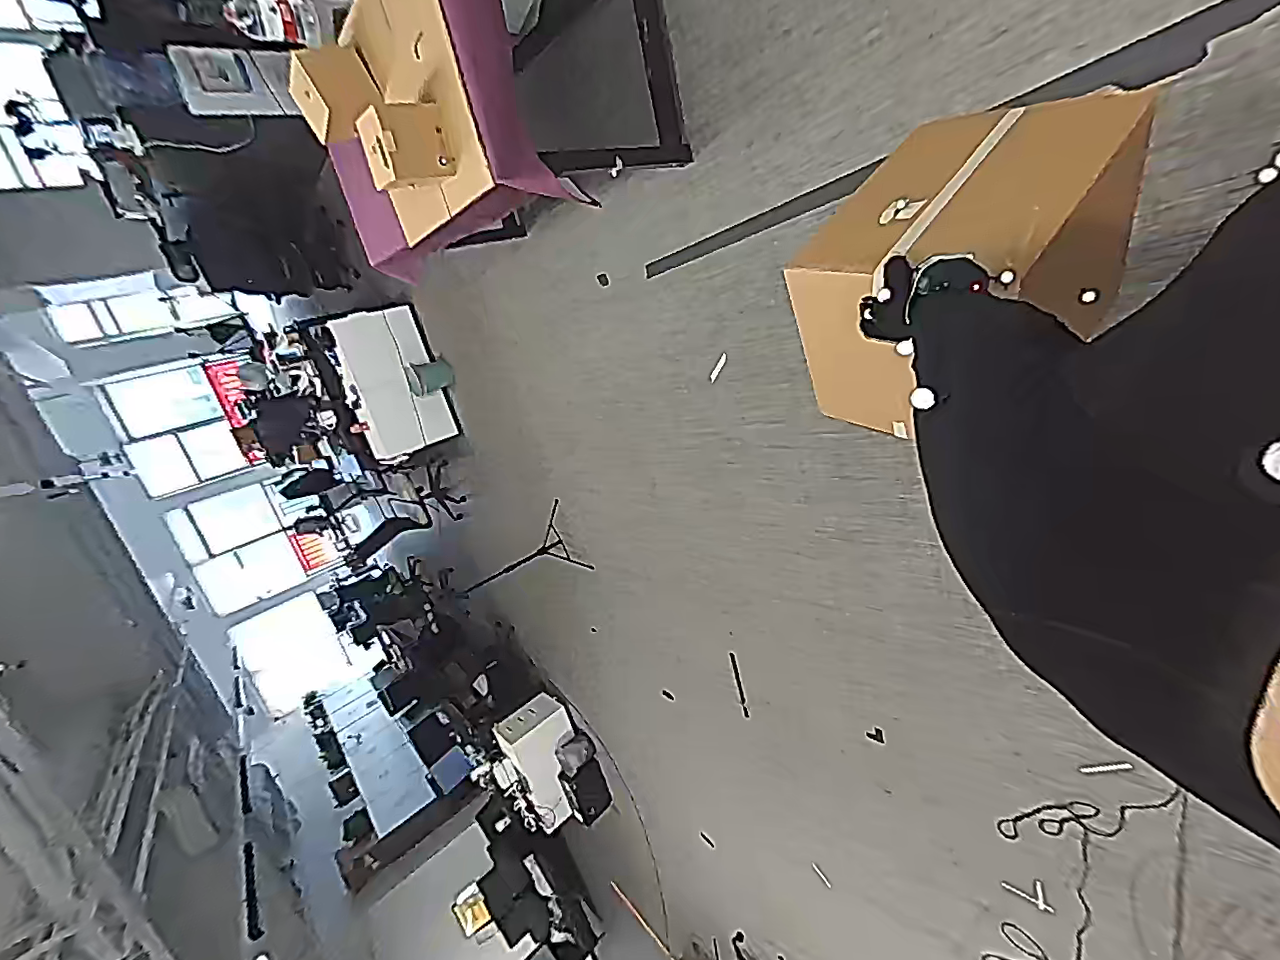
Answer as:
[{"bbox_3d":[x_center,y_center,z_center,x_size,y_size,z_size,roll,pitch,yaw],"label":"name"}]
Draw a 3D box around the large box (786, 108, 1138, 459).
[{"bbox_3d":[0.504,-0.308,0.868,0.320,0.408,0.320,26,158,45],"label":"large box"}]
